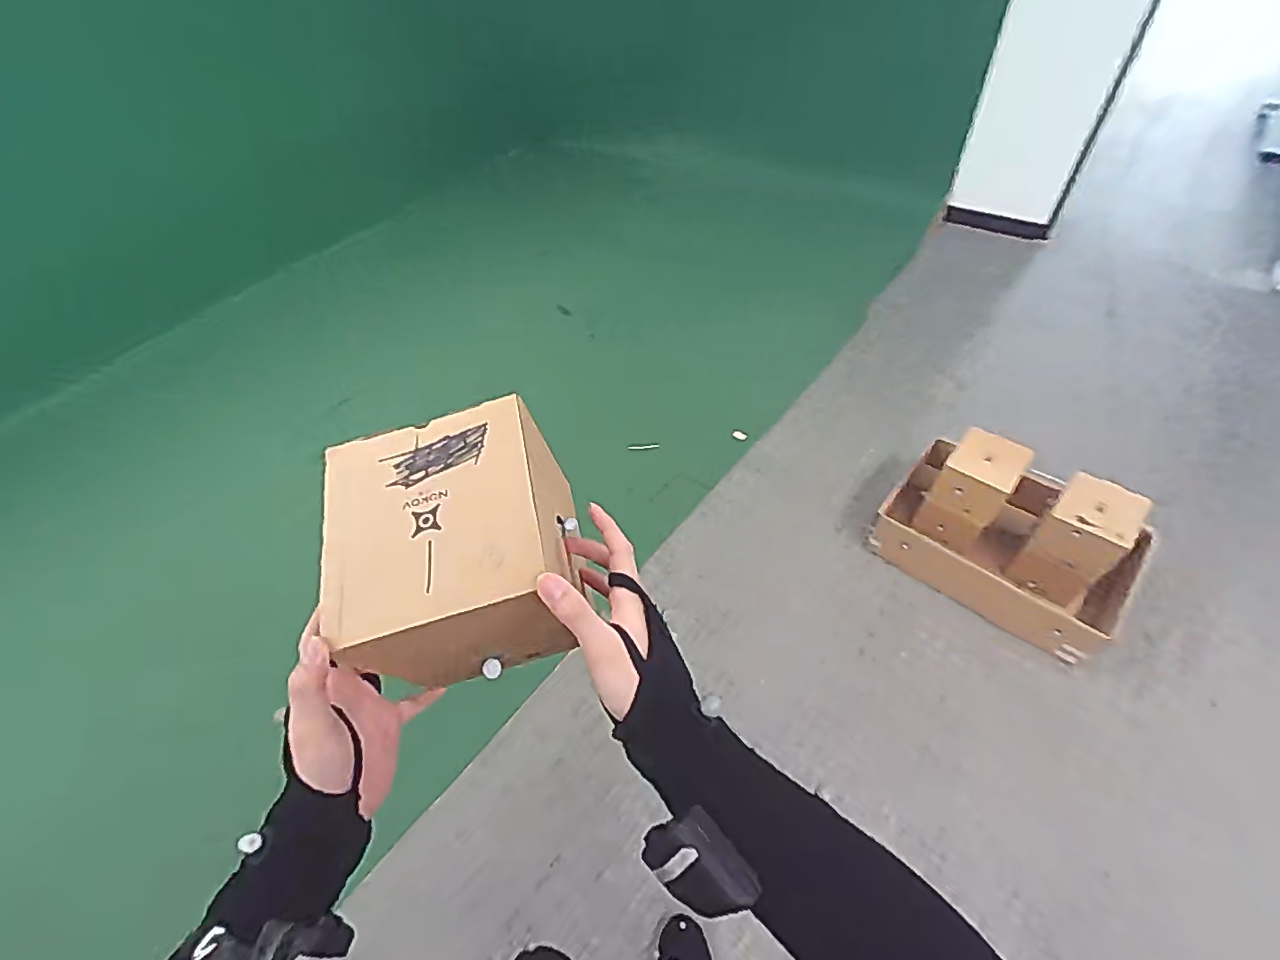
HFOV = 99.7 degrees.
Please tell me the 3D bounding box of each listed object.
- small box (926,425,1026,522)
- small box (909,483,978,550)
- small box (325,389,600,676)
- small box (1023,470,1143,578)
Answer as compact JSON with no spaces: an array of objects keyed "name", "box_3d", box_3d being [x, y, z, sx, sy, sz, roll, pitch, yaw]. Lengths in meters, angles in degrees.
[{"name":"small box","box_3d":[0.929,-0.013,1.512,0.168,0.176,0.179,32,63,28]},{"name":"small box","box_3d":[0.945,0.081,1.642,0.168,0.176,0.179,33,64,28]},{"name":"small box","box_3d":[-0.141,0.054,0.476,0.168,0.176,0.179,-16,61,1]},{"name":"small box","box_3d":[1.124,0.115,1.385,0.168,0.176,0.179,32,63,30]}]
